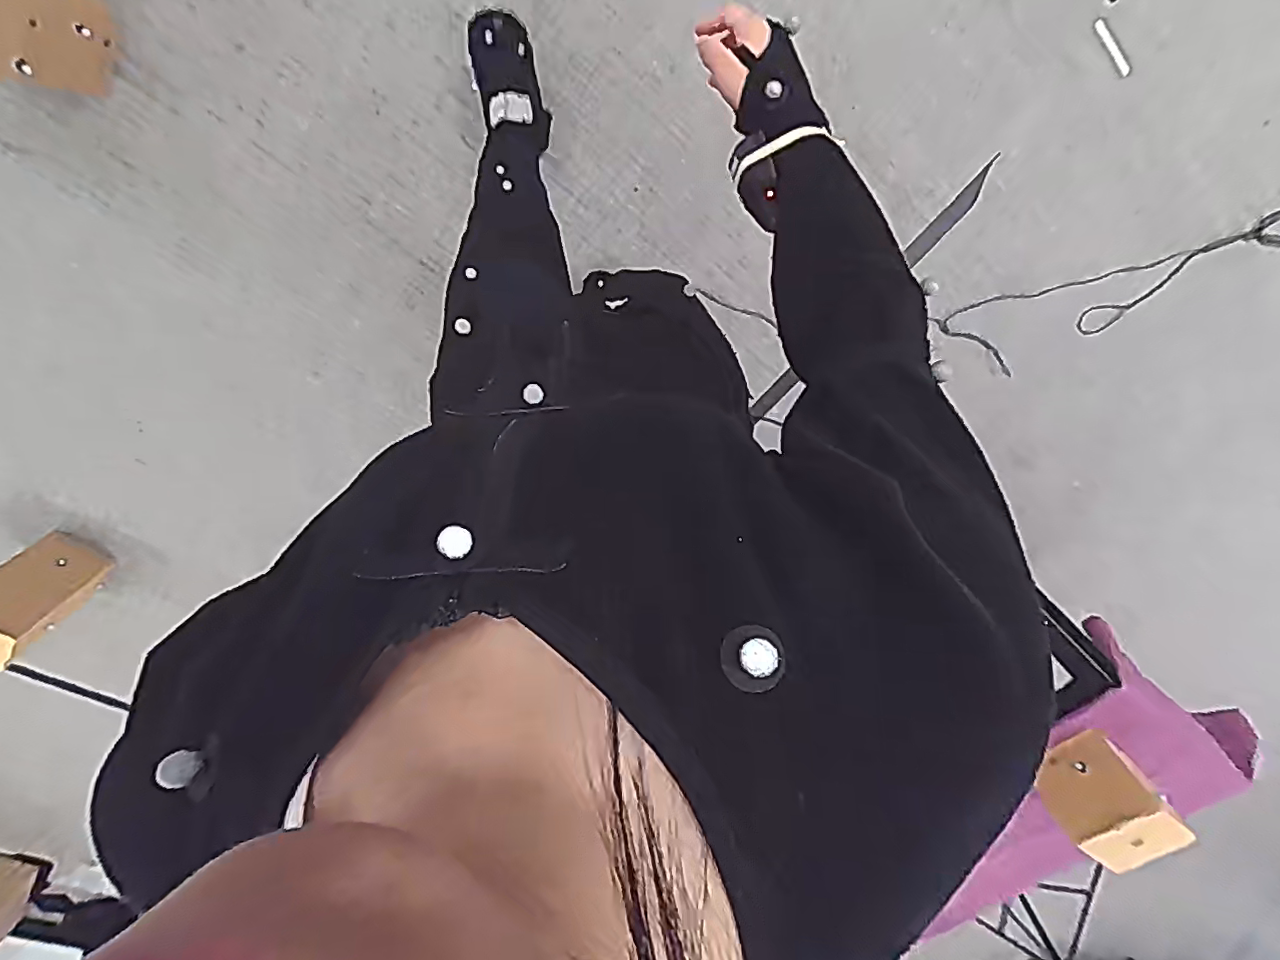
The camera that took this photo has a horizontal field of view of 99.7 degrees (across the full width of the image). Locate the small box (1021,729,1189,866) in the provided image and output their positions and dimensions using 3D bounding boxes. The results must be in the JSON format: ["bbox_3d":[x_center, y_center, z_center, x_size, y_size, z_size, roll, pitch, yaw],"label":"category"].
[{"bbox_3d":[0.944,0.647,1.112,0.179,0.176,0.168,36,113,-21],"label":"small box"}]

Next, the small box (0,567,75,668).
[{"bbox_3d":[-1.706,0.361,1.451,0.179,0.176,0.168,37,113,-23],"label":"small box"}]
